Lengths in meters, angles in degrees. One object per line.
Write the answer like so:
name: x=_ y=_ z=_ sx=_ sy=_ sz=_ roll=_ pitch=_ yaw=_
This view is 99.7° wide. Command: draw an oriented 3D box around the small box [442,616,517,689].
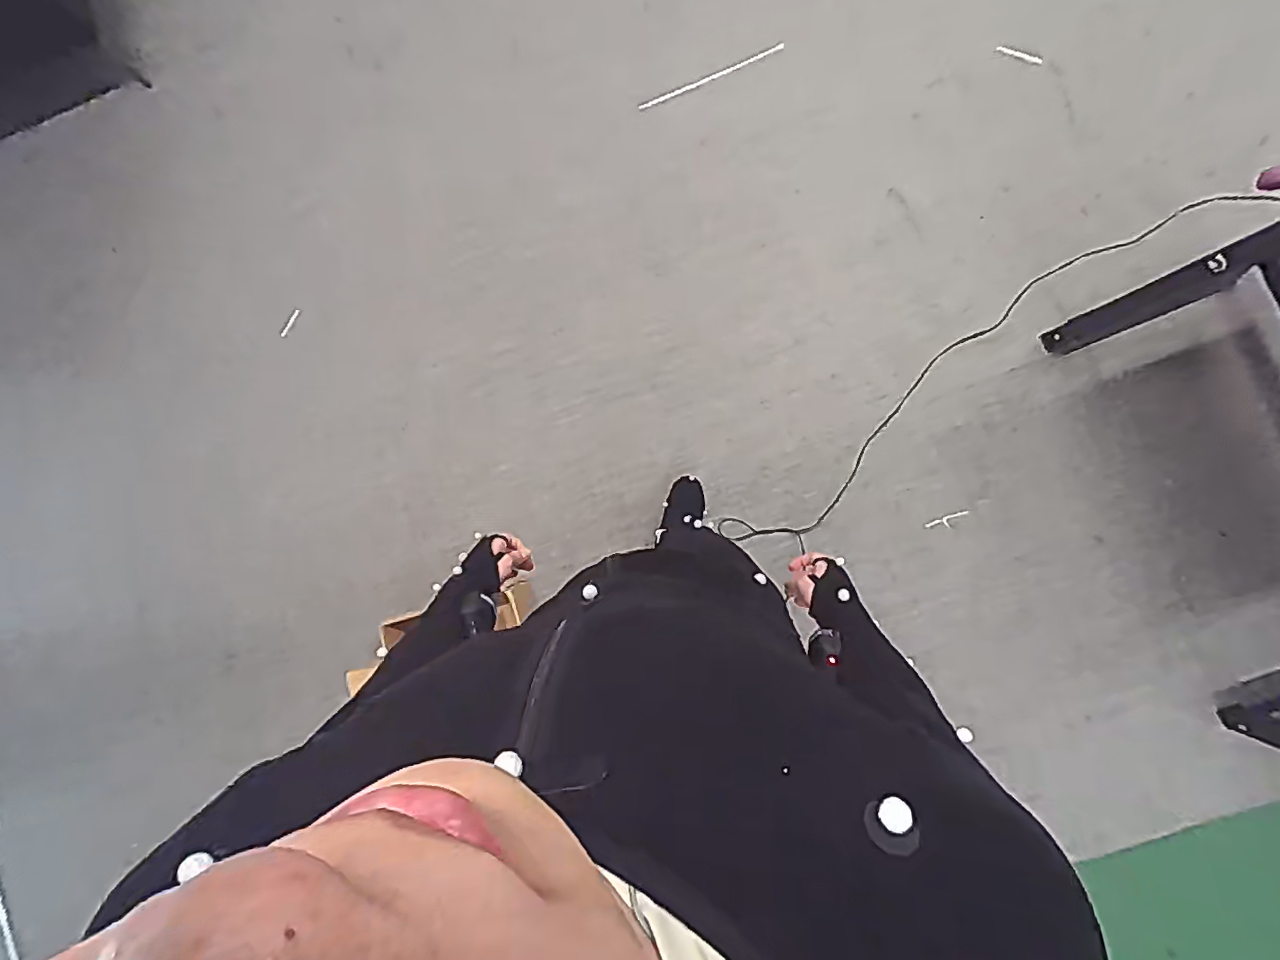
small box: x=-0.471 y=0.497 z=1.528 sx=0.179 sy=0.176 sz=0.168 roll=-15 pitch=86 yaw=4

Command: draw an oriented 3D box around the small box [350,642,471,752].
small box: x=-0.503 y=0.474 z=1.203 sx=0.179 sy=0.176 sz=0.168 roll=-13 pitch=86 yaw=4

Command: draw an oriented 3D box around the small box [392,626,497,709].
small box: x=-0.488 y=0.482 z=1.365 sx=0.179 sy=0.176 sz=0.168 roll=-14 pitch=86 yaw=5

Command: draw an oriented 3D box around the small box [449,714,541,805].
small box: x=-0.399 y=0.778 z=1.506 sx=0.179 sy=0.176 sz=0.168 roll=-16 pitch=86 yaw=6

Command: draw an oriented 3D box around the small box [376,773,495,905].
small box: x=-0.433 y=0.770 z=1.179 sx=0.179 sy=0.176 sz=0.168 roll=-16 pitch=85 yaw=7
